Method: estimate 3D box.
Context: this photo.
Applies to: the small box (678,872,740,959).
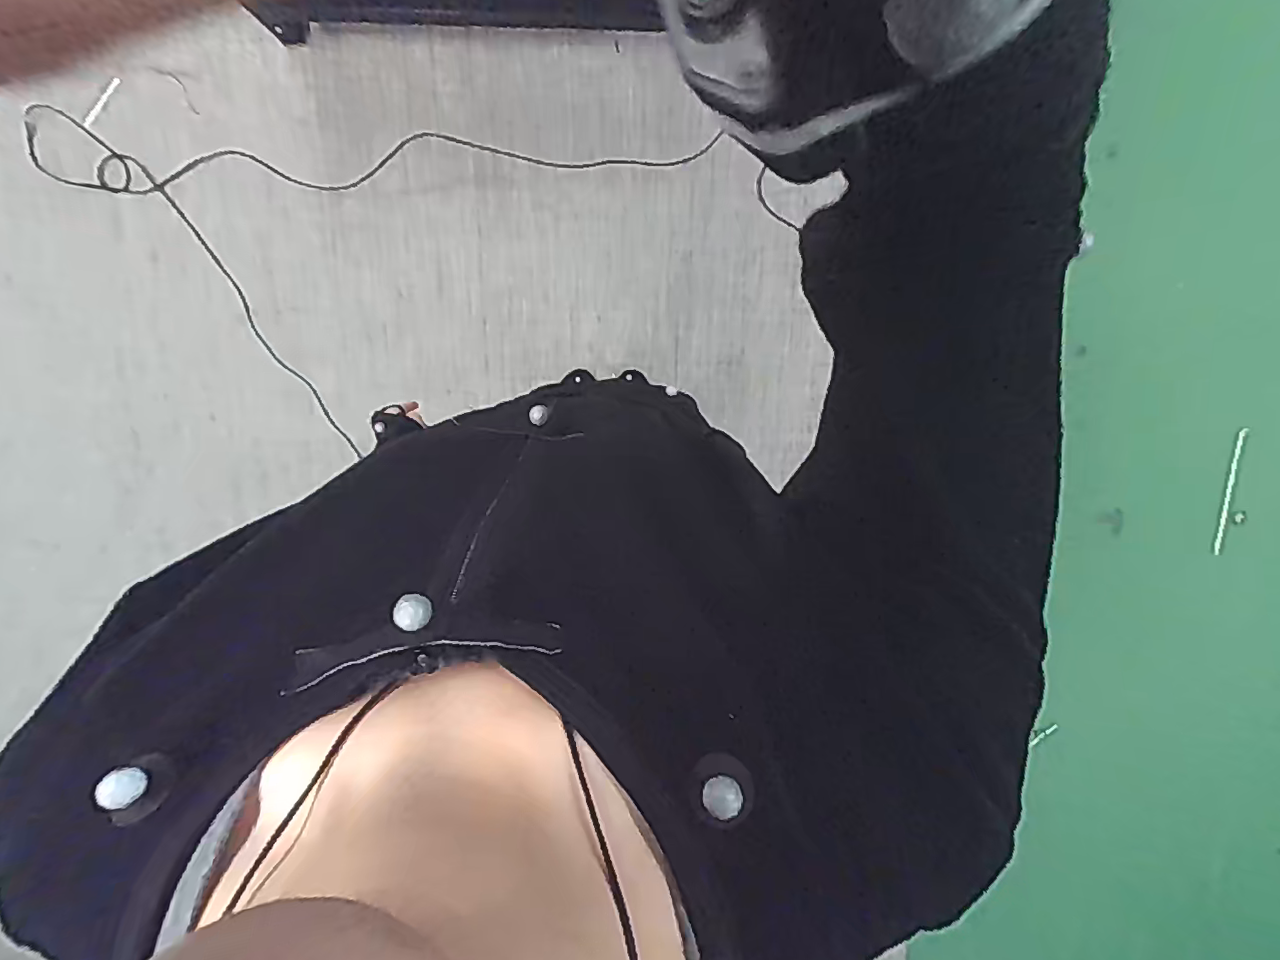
[{"bbox_3d":[0.212,1.385,1.716,0.179,0.176,0.168,-1,101,-2],"label":"small box"}]
